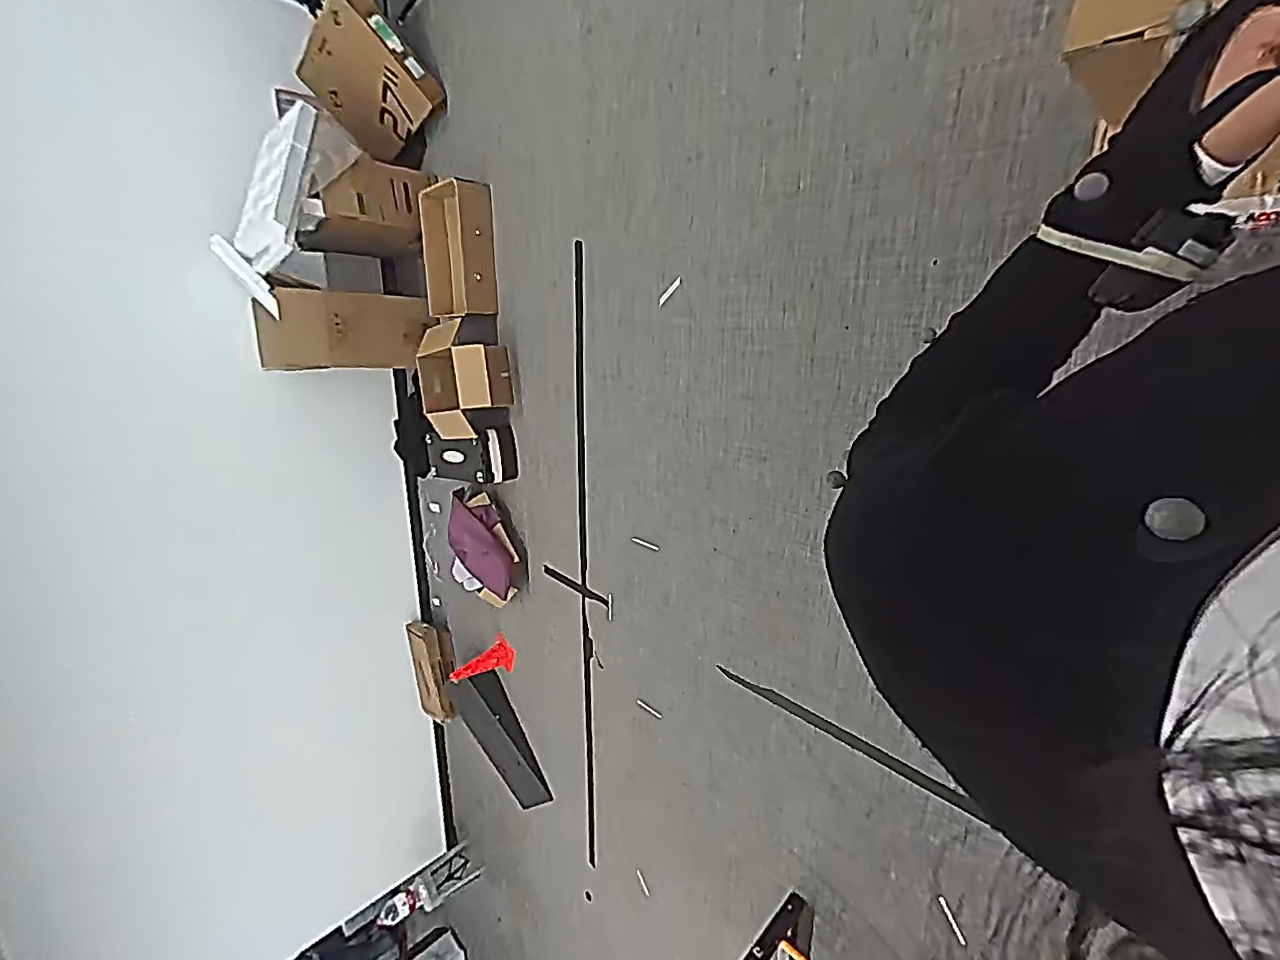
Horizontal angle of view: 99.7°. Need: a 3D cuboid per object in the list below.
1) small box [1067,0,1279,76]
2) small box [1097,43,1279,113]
[{"bbox_3d":[0.521,-0.495,0.486,0.168,0.176,0.179,17,116,45],"label":"small box"},{"bbox_3d":[0.637,-0.540,0.593,0.168,0.176,0.179,15,114,46],"label":"small box"}]
